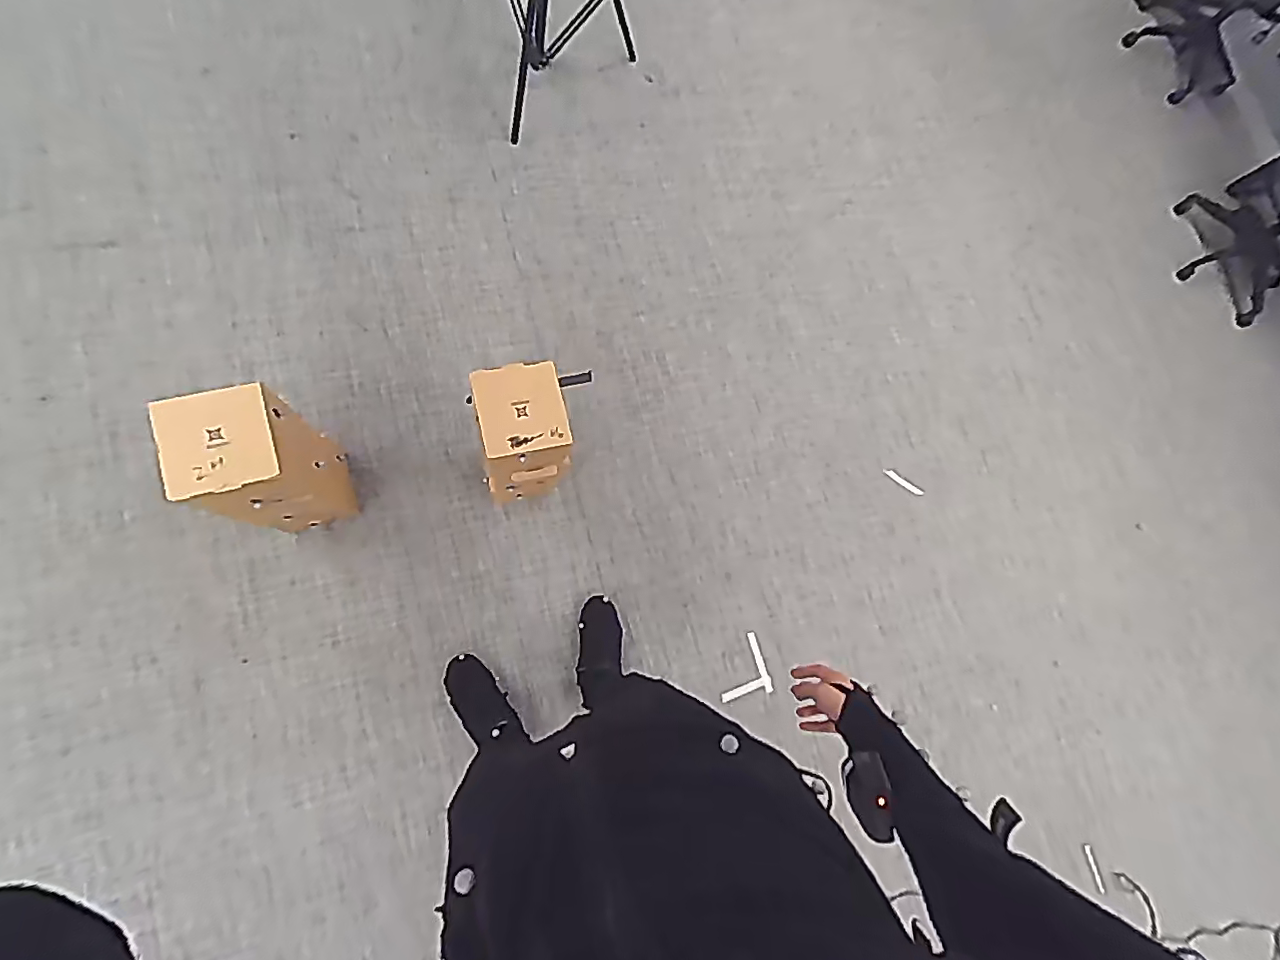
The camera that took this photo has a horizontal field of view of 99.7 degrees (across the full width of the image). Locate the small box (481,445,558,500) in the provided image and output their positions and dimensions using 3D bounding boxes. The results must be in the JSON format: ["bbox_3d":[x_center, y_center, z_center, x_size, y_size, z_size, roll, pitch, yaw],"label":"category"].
[{"bbox_3d":[-0.323,-0.057,1.423,0.168,0.176,0.179,-11,81,-17],"label":"small box"}]

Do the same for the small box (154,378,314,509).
[{"bbox_3d":[-0.717,-0.059,0.972,0.168,0.176,0.179,-15,83,-16],"label":"small box"}]

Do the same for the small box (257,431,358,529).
[{"bbox_3d":[-0.793,0.004,1.285,0.168,0.176,0.179,-15,82,-17],"label":"small box"}]

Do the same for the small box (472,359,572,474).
[{"bbox_3d":[-0.247,-0.127,1.110,0.168,0.176,0.179,-12,80,-17],"label":"small box"}]

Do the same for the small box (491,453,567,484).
[{"bbox_3d":[-0.275,-0.094,1.270,0.168,0.176,0.179,-11,81,-18],"label":"small box"}]
